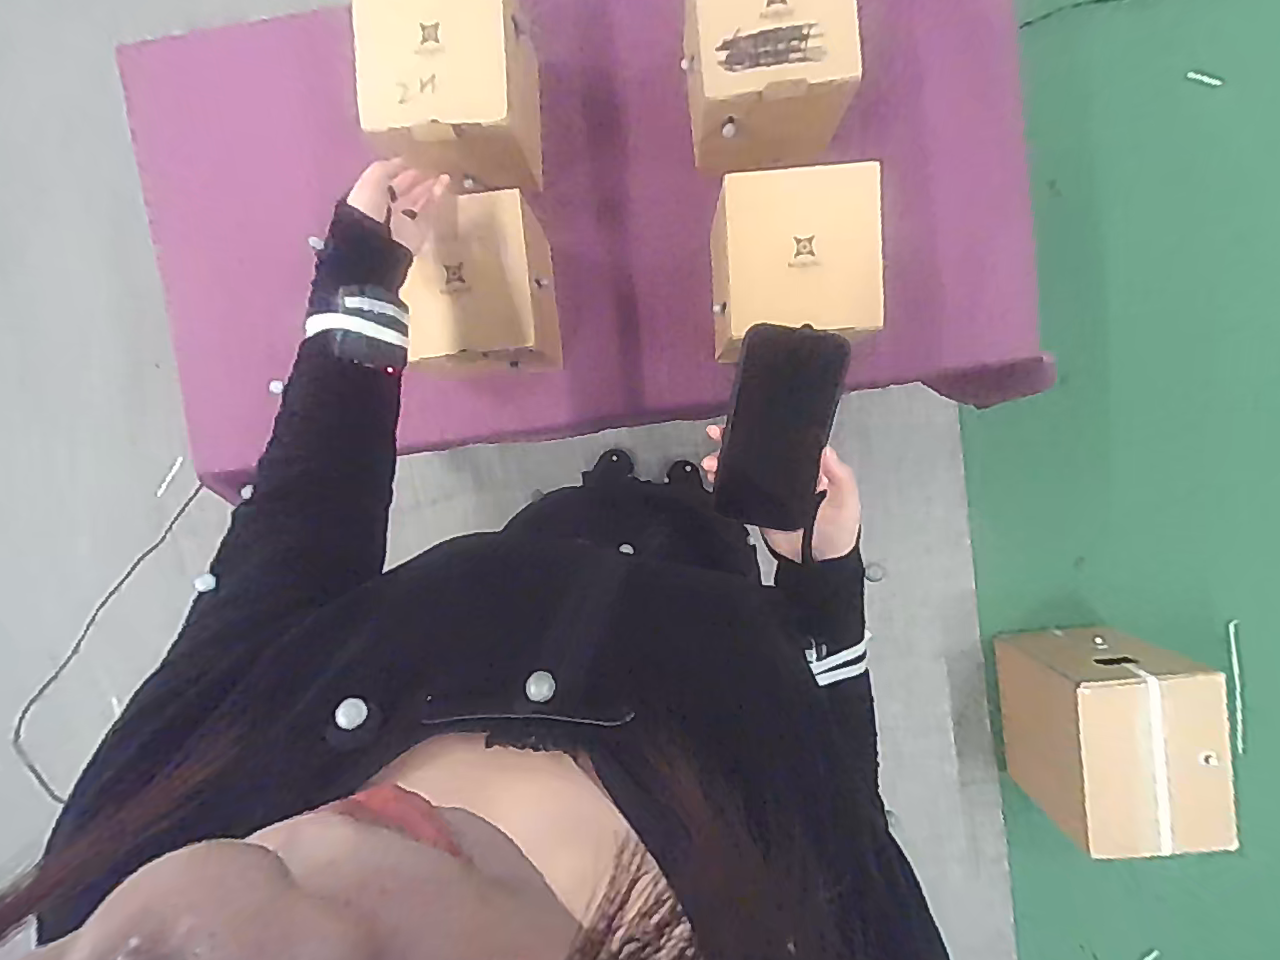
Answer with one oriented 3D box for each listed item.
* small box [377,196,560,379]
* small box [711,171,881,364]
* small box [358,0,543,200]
[{"bbox_3d":[-0.201,-0.224,0.679,0.168,0.176,0.179,-5,93,2],"label":"small box"},{"bbox_3d":[0.178,-0.244,0.660,0.168,0.176,0.179,-2,94,3],"label":"small box"},{"bbox_3d":[-0.219,-0.470,0.662,0.168,0.176,0.179,0,94,3],"label":"small box"}]
